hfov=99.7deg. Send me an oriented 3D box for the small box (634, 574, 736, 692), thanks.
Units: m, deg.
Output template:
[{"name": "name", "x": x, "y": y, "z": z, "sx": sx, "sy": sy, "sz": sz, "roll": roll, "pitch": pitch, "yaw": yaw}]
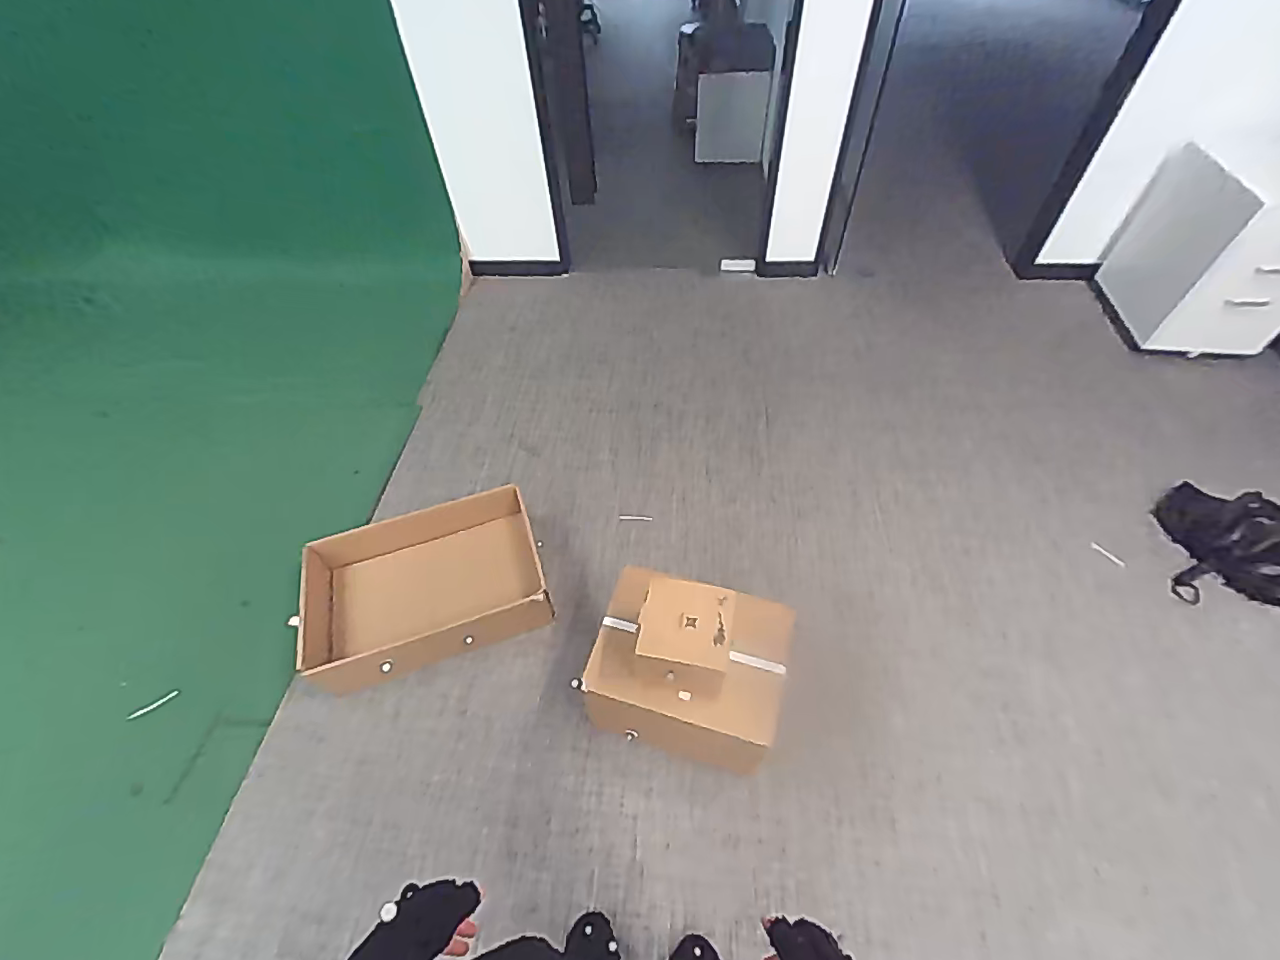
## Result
[{"name": "small box", "x": 0.093, "y": 0.313, "z": 1.096, "sx": 0.179, "sy": 0.176, "sz": 0.168, "roll": 8, "pitch": 53, "yaw": 10}]
